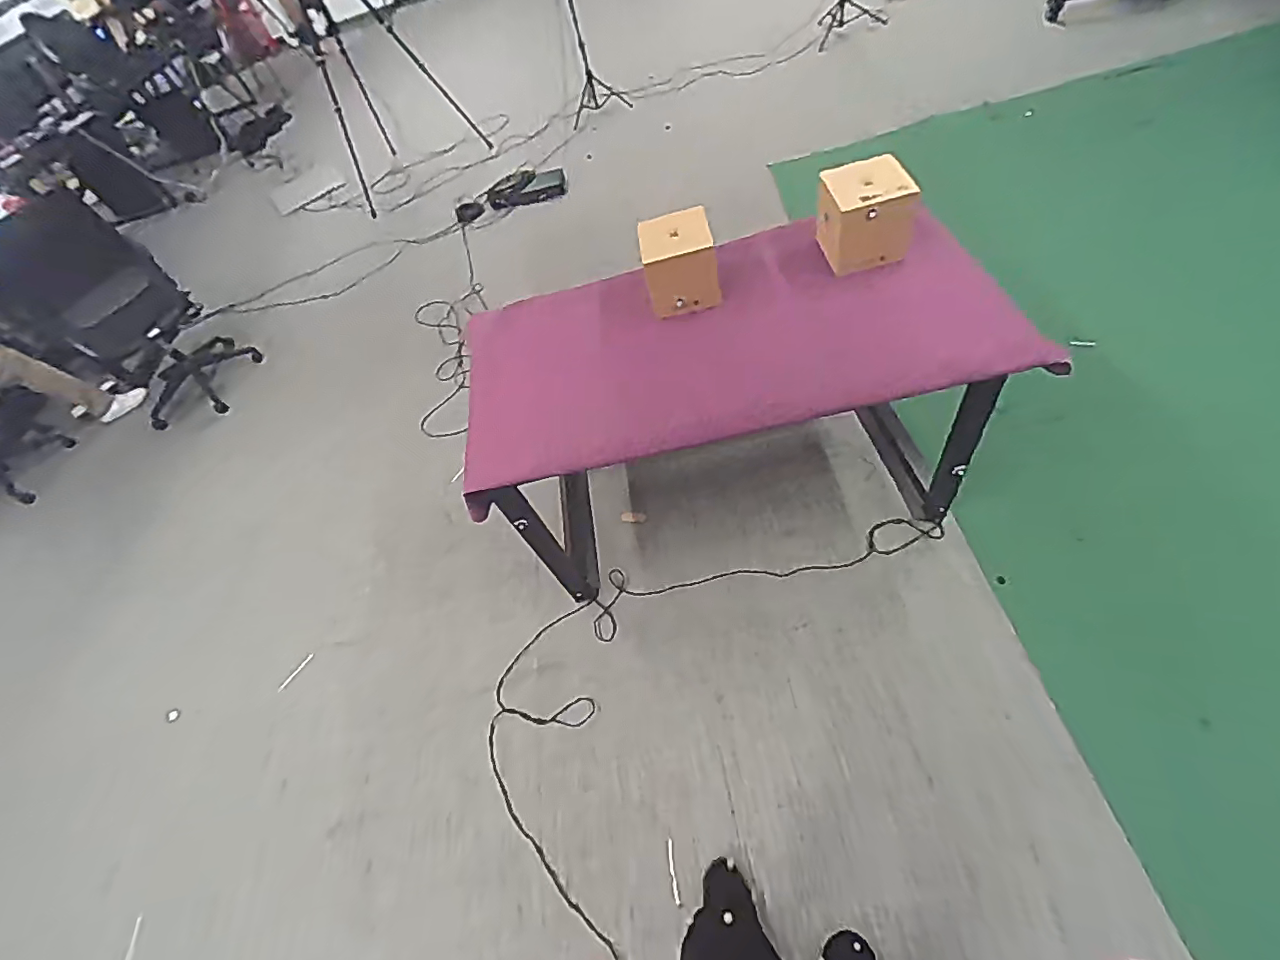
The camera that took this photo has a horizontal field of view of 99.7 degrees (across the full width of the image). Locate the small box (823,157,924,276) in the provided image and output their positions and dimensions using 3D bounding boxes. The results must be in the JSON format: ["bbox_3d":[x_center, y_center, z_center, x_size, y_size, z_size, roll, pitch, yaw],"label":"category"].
[{"bbox_3d":[0.532,-0.609,1.261,0.168,0.176,0.179,-12,53,8],"label":"small box"}]

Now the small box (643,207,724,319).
[{"bbox_3d":[0.108,-0.526,1.321,0.168,0.176,0.179,-11,55,9],"label":"small box"}]
